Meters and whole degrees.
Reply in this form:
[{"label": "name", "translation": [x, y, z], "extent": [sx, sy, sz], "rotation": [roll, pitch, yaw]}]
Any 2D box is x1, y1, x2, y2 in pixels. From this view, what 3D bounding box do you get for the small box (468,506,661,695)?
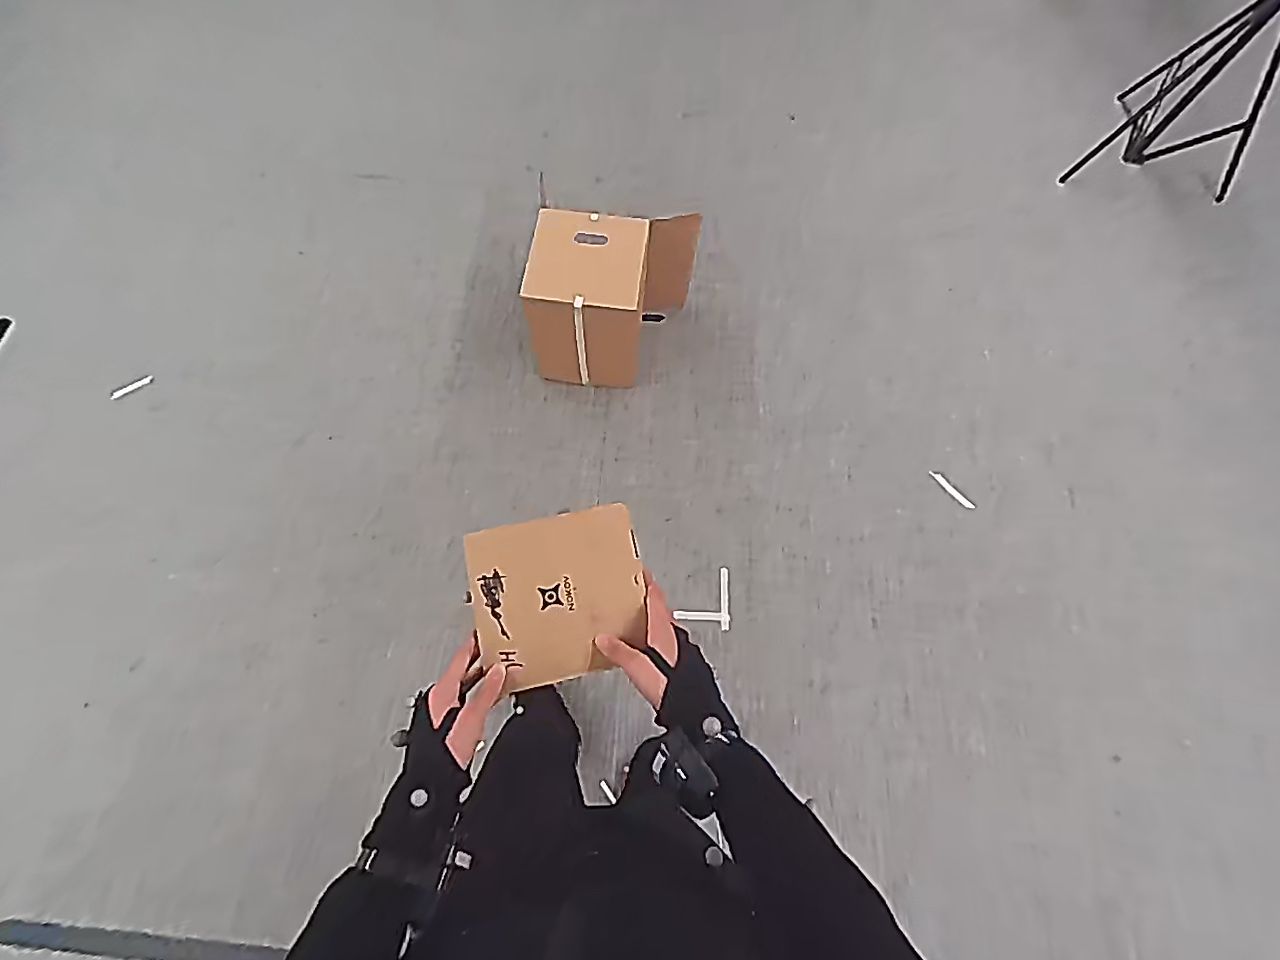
[{"label": "small box", "translation": [-0.084, 0.130, 0.627], "extent": [0.179, 0.176, 0.168], "rotation": [-10, 81, -6]}]
